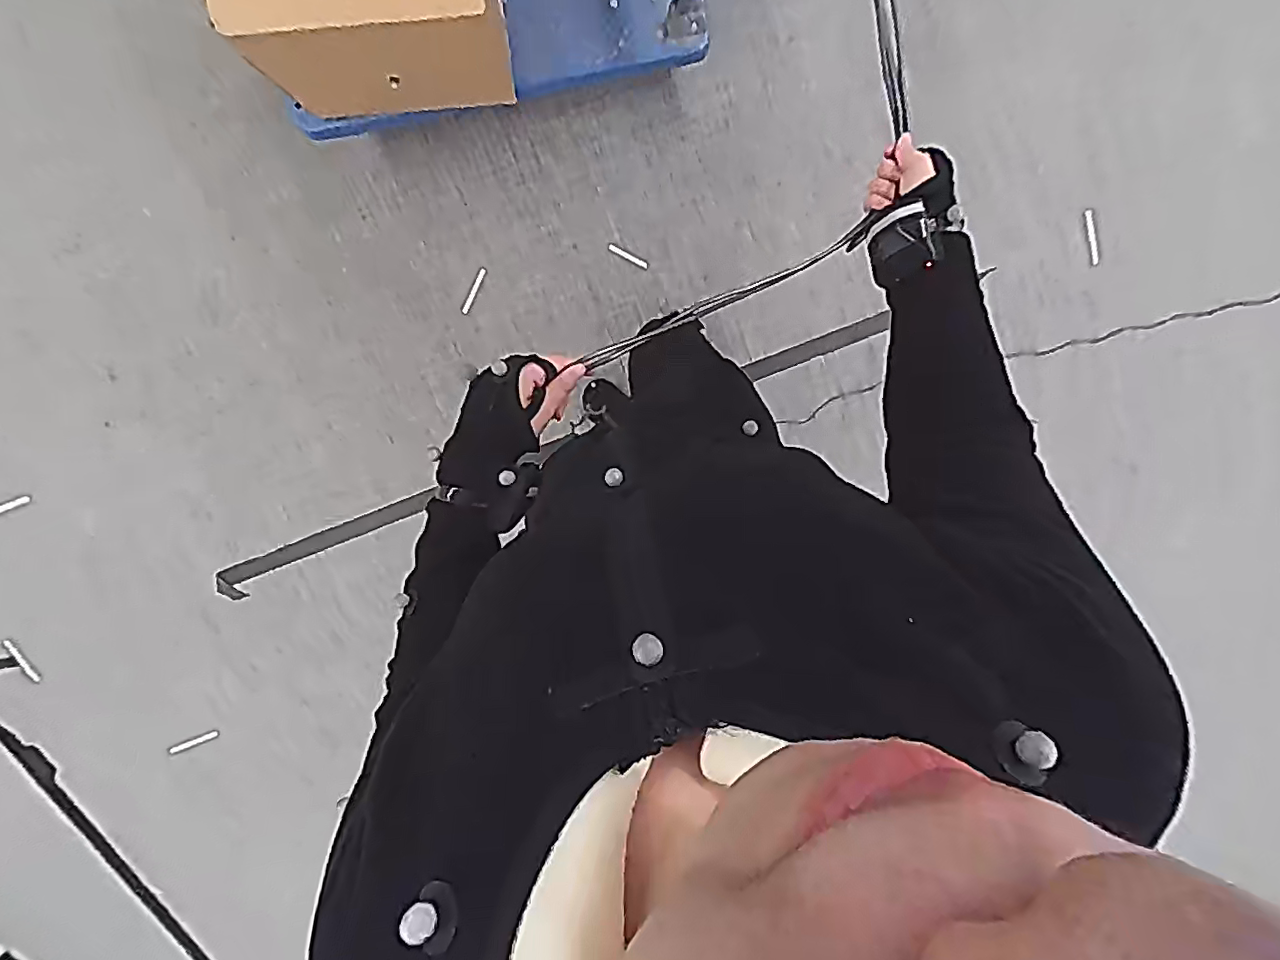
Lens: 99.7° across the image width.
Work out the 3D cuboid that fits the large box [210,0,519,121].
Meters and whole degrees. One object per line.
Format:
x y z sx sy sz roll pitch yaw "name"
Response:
-0.451 -0.855 0.917 0.408 0.320 0.320 -7 103 -2 "large box"
